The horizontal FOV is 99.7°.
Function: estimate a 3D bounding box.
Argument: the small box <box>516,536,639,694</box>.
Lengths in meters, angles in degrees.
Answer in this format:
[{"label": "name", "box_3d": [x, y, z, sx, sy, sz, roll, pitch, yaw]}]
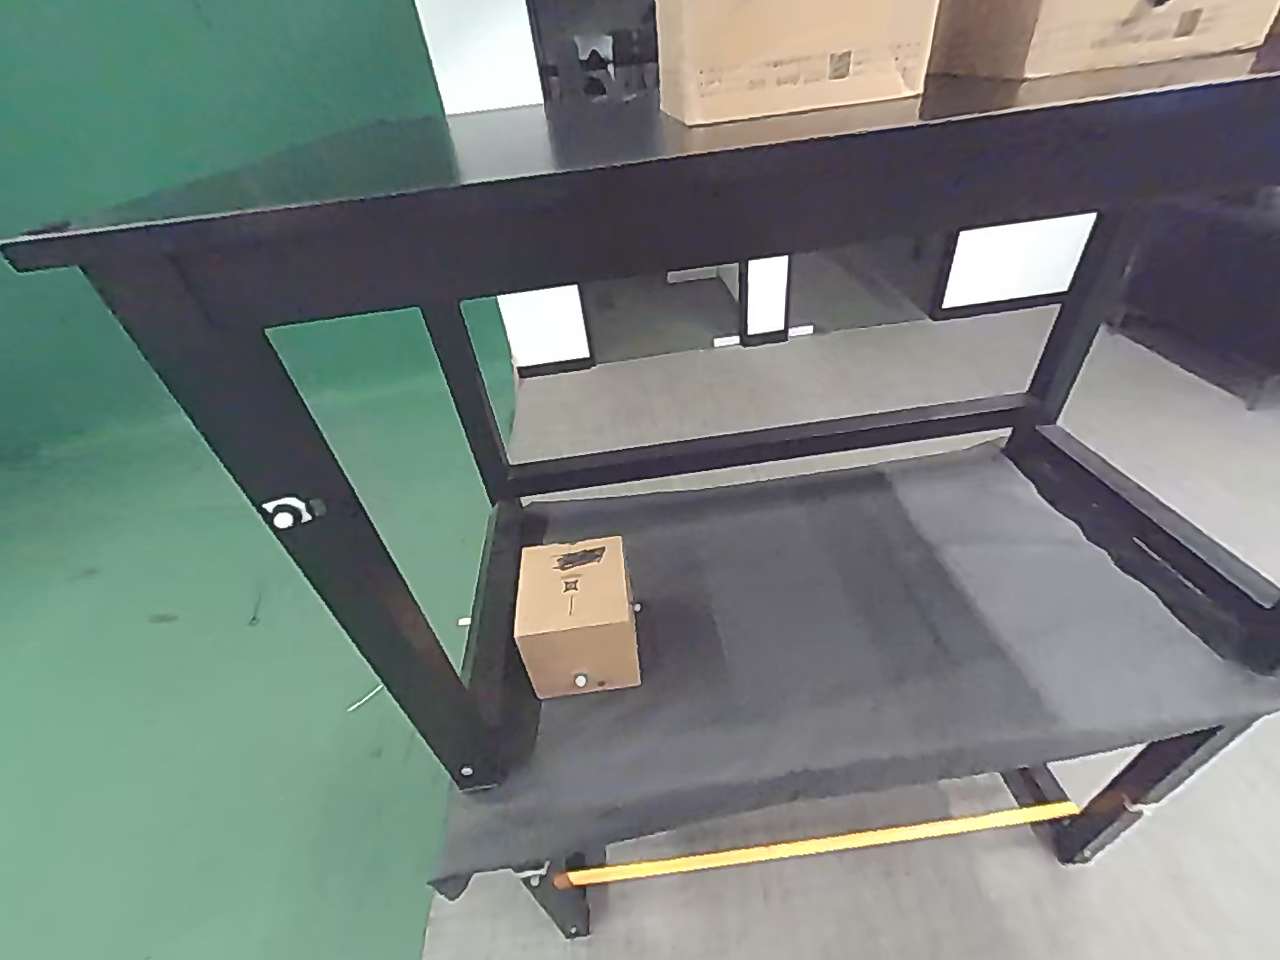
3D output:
[{"label": "small box", "box_3d": [-0.095, 0.217, 0.876, 0.168, 0.176, 0.179, -8, 38, -1]}]

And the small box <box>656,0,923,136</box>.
[{"label": "small box", "box_3d": [0.101, -0.368, 0.405, 0.168, 0.176, 0.179, -7, 38, 0]}]
